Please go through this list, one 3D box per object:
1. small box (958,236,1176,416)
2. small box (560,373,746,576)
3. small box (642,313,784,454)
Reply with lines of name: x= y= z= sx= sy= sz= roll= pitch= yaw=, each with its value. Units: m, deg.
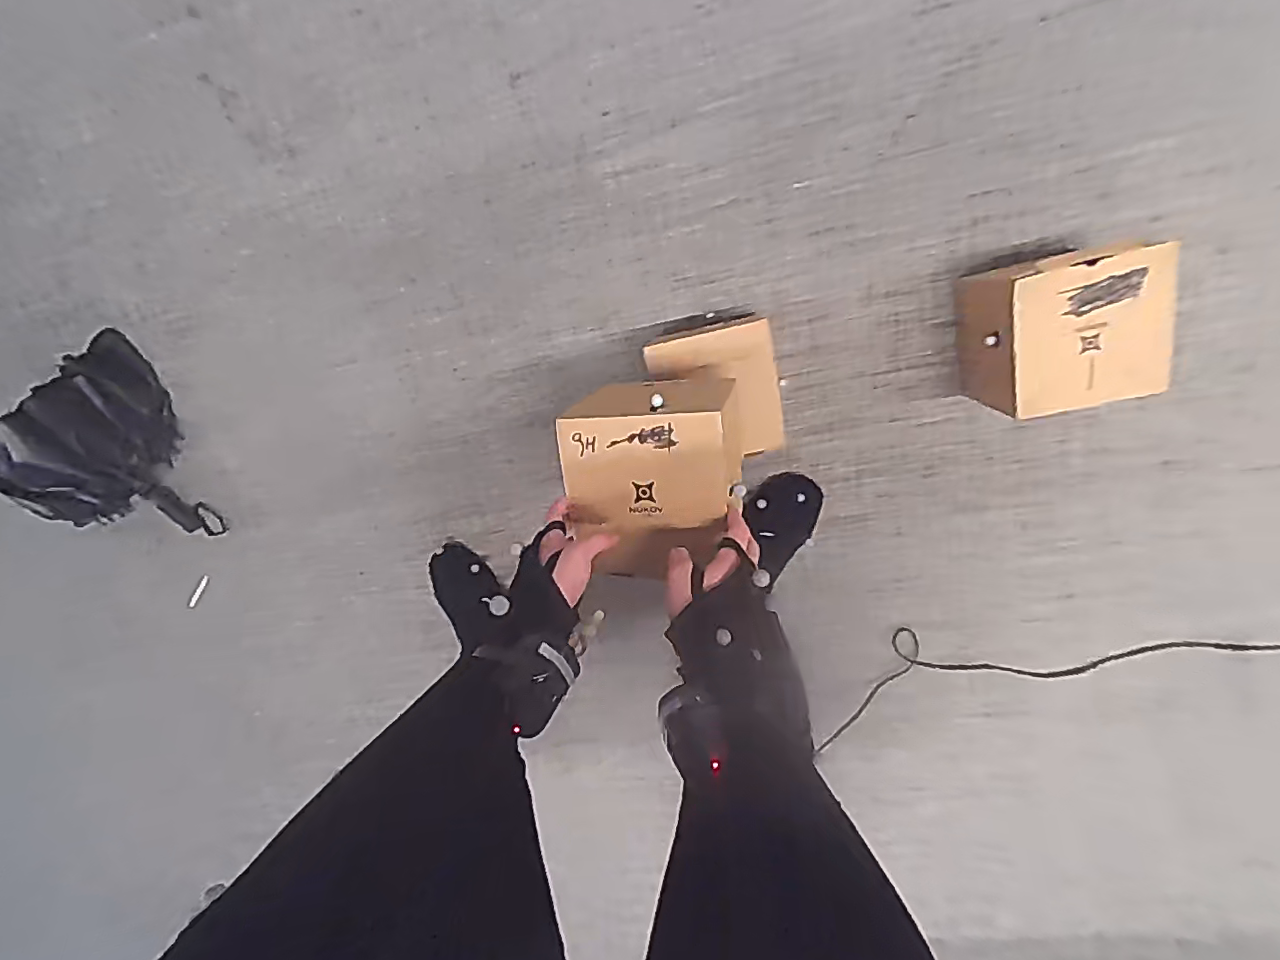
small box: x=0.537 y=-0.199 z=0.705 sx=0.168 sy=0.176 sz=0.179 roll=-11 pitch=108 yaw=13
small box: x=0.028 y=-0.013 z=0.605 sx=0.168 sy=0.176 sz=0.179 roll=-1 pitch=112 yaw=15
small box: x=0.110 y=-0.138 z=0.795 sx=0.168 sy=0.176 sz=0.179 roll=-11 pitch=107 yaw=11
